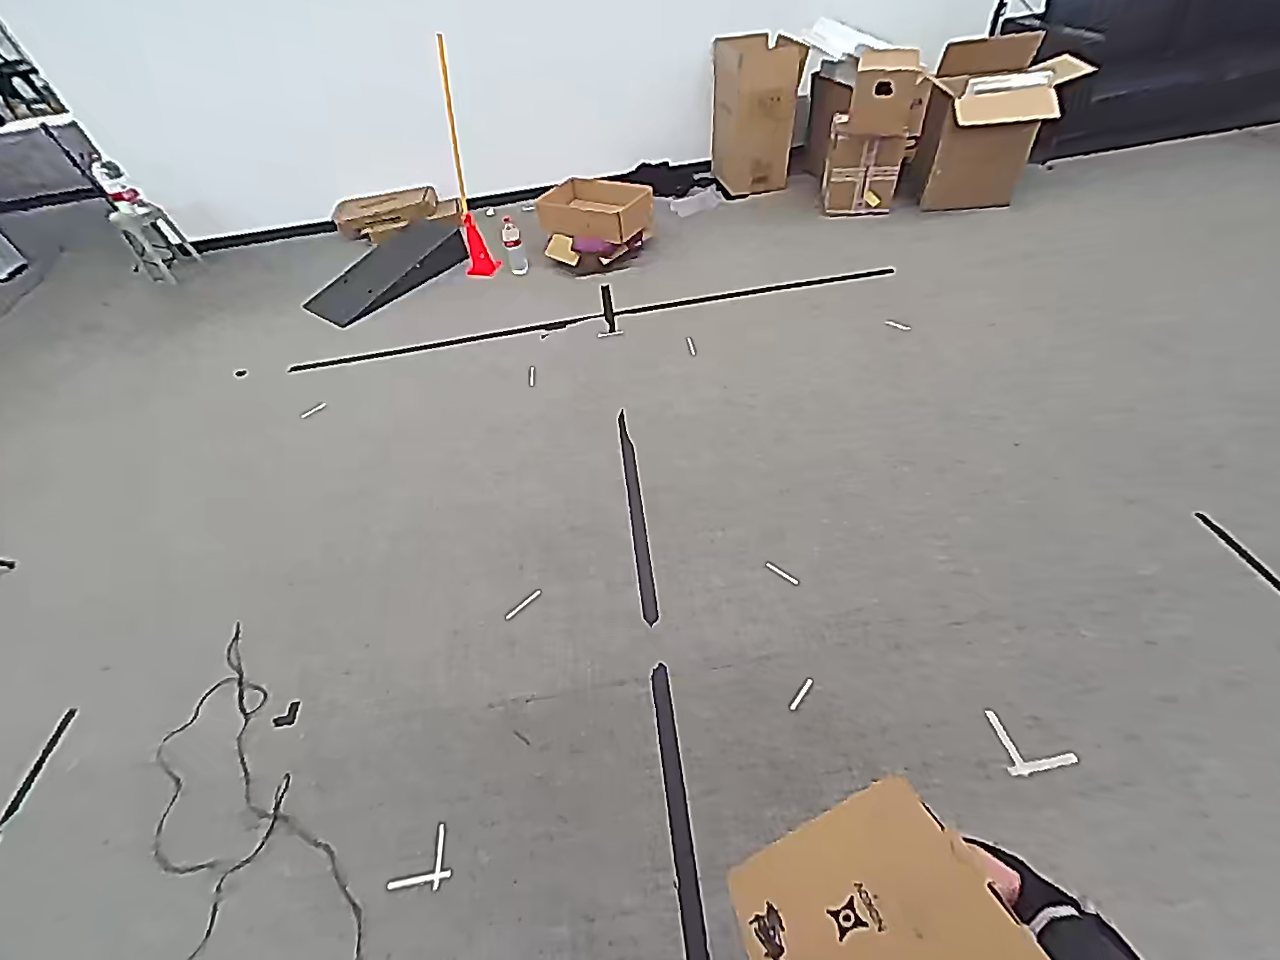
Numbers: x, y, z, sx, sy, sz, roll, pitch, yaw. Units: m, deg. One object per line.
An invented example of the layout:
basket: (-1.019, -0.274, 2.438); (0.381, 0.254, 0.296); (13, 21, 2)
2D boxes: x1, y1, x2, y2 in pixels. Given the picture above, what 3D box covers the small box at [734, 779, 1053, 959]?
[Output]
small box: (0.202, 0.383, 0.408); (0.179, 0.176, 0.168); (-30, 10, 0)
